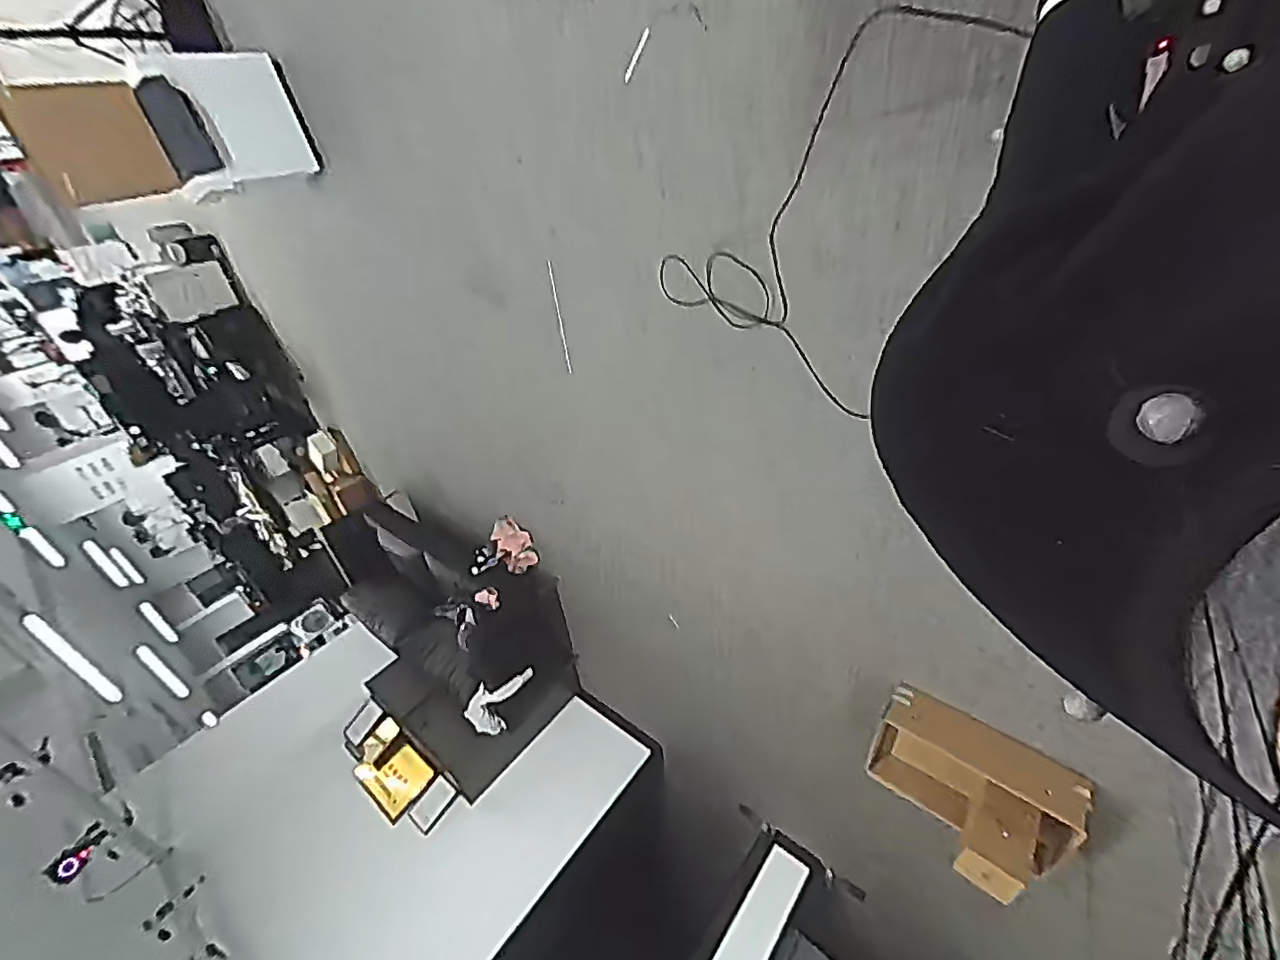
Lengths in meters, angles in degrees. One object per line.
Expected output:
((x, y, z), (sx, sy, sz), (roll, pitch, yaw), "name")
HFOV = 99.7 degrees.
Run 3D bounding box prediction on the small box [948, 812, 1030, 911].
((1.131, 1.231, 1.751), (0.168, 0.176, 0.179), (24, 133, 32), "small box")
